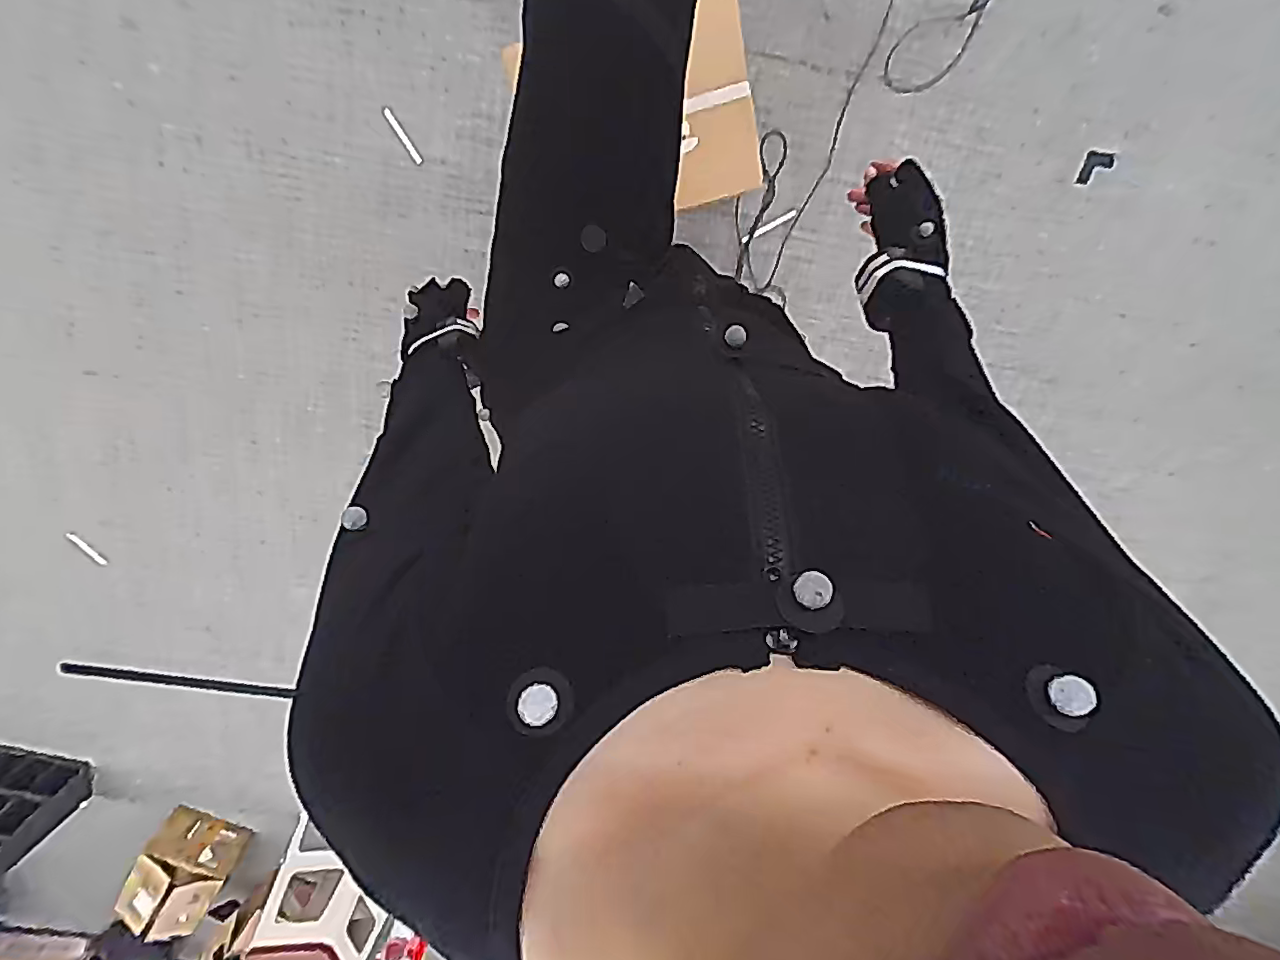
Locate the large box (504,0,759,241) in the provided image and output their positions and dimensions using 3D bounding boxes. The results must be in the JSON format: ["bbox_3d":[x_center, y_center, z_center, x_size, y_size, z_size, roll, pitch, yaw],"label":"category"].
[{"bbox_3d":[-0.010,-0.702,1.098,0.408,0.320,0.320,-13,114,5],"label":"large box"}]
